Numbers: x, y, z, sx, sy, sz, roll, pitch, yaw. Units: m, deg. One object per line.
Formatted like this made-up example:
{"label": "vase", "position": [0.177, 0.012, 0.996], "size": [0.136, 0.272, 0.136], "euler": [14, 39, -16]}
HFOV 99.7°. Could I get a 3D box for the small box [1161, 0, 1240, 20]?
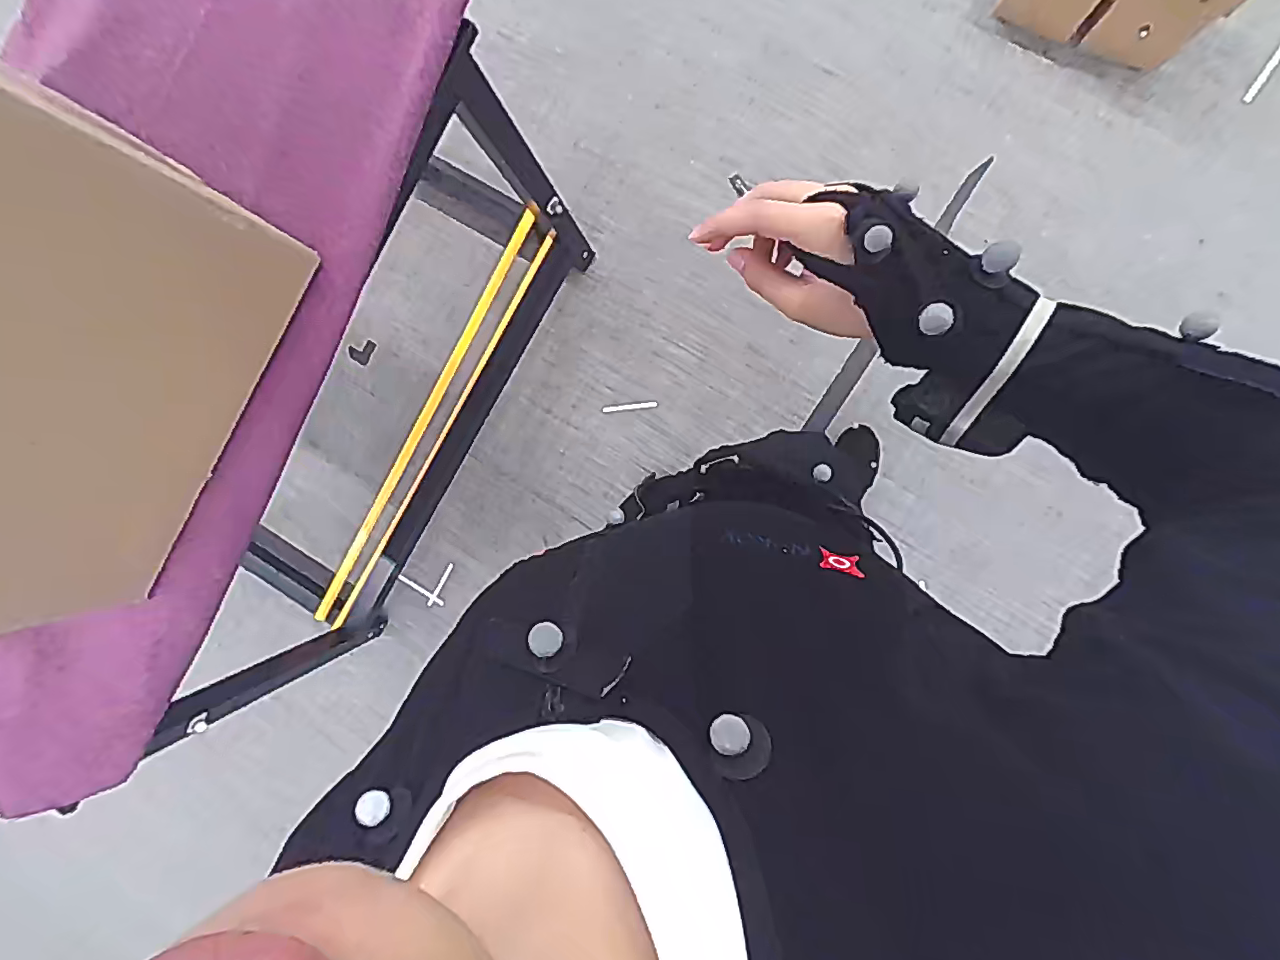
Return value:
{"label": "small box", "position": [1.052, -0.976, 0.952], "size": [0.168, 0.176, 0.179], "euler": [26, 95, 6]}
